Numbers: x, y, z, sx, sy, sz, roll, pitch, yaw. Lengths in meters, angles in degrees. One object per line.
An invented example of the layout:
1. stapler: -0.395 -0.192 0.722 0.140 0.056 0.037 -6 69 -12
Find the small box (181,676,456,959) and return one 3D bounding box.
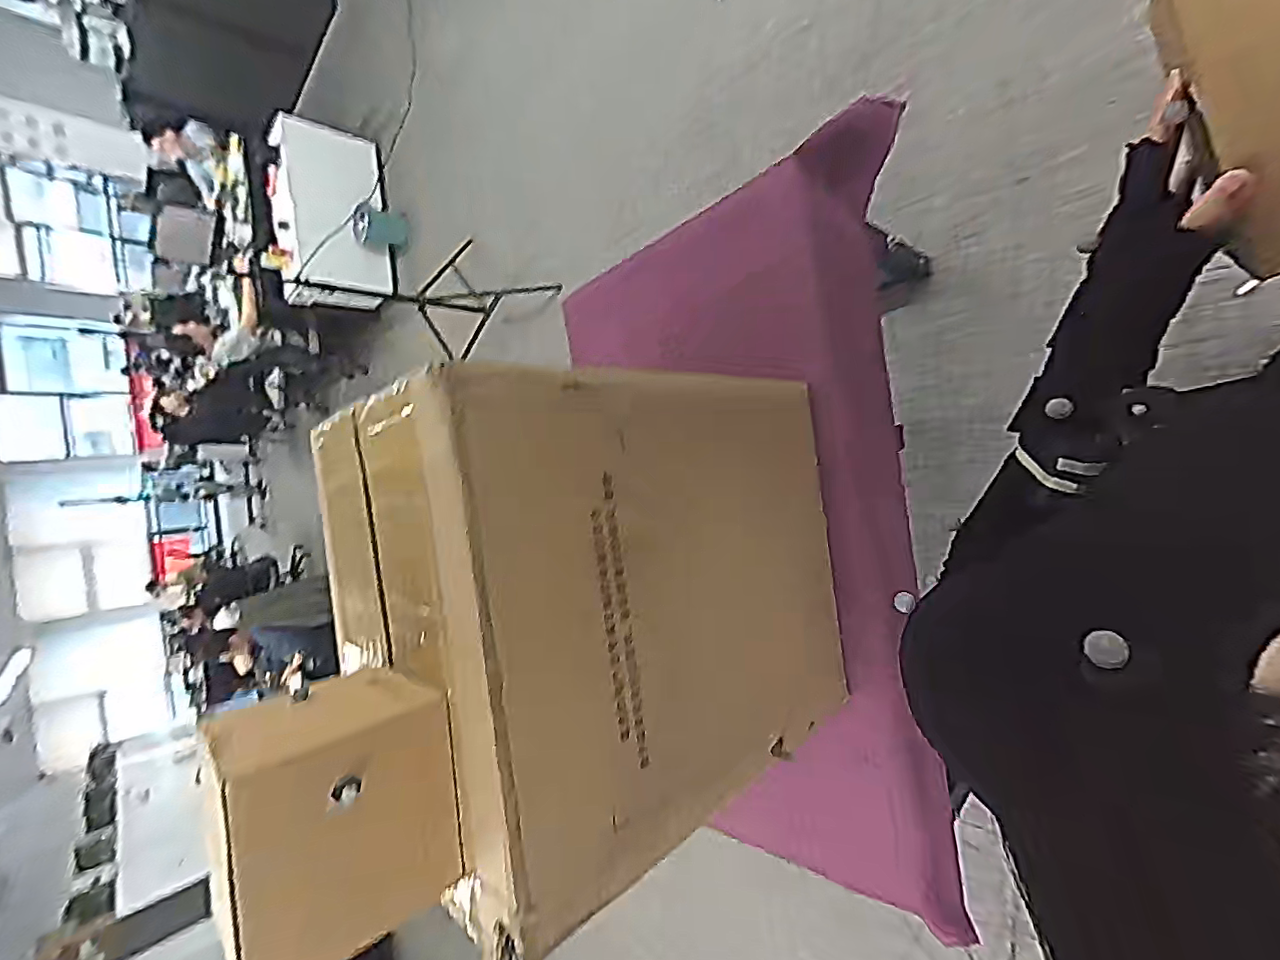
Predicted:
1. small box: -0.283 0.295 0.480 0.168 0.176 0.179 -5 91 46
